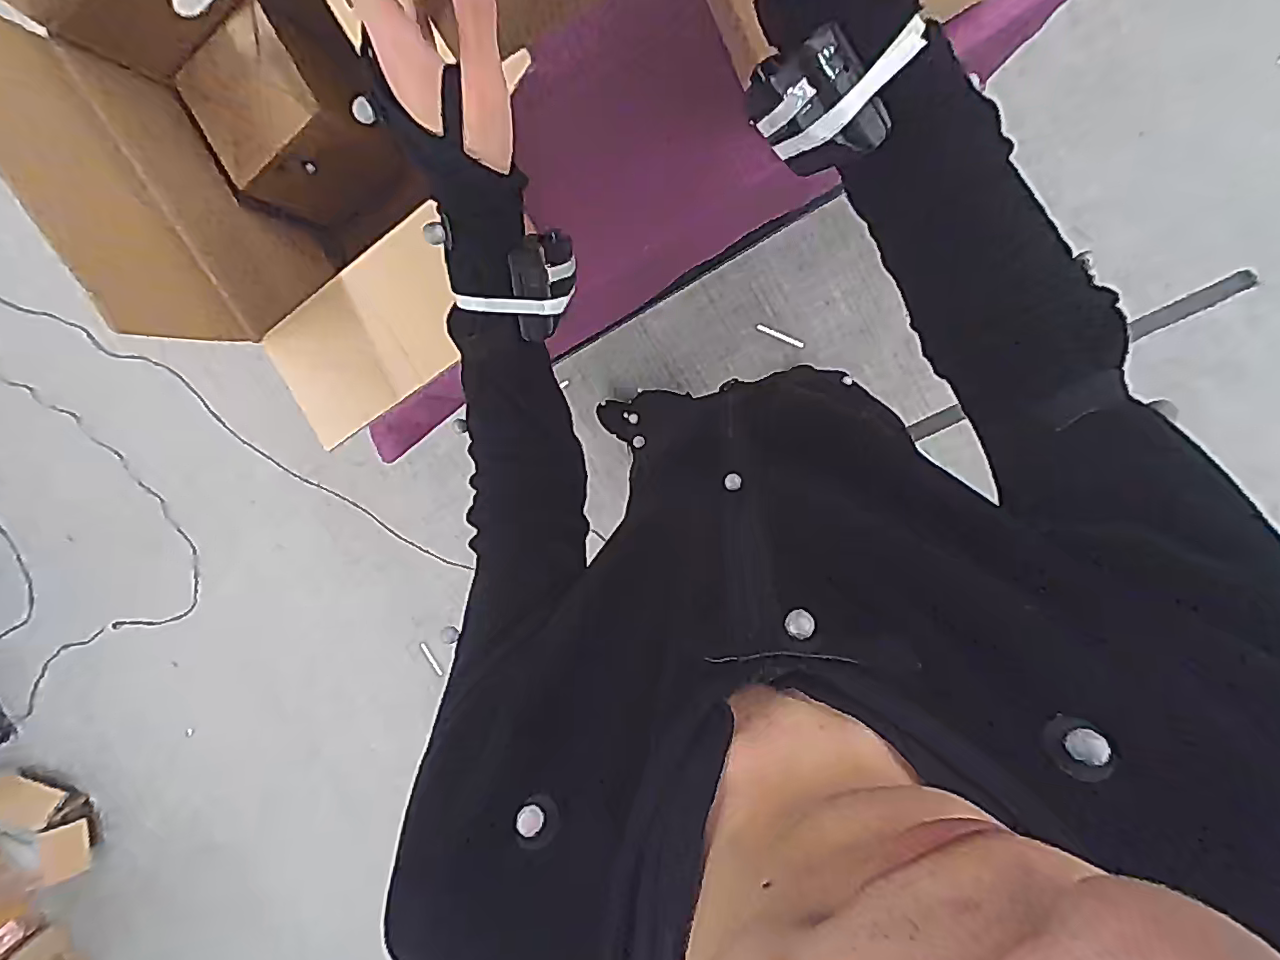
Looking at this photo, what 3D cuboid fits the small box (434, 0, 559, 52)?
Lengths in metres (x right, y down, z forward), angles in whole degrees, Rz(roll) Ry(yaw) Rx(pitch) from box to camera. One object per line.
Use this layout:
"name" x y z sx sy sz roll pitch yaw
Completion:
"small box" -0.078 -0.377 0.277 0.179 0.176 0.168 -29 107 6
